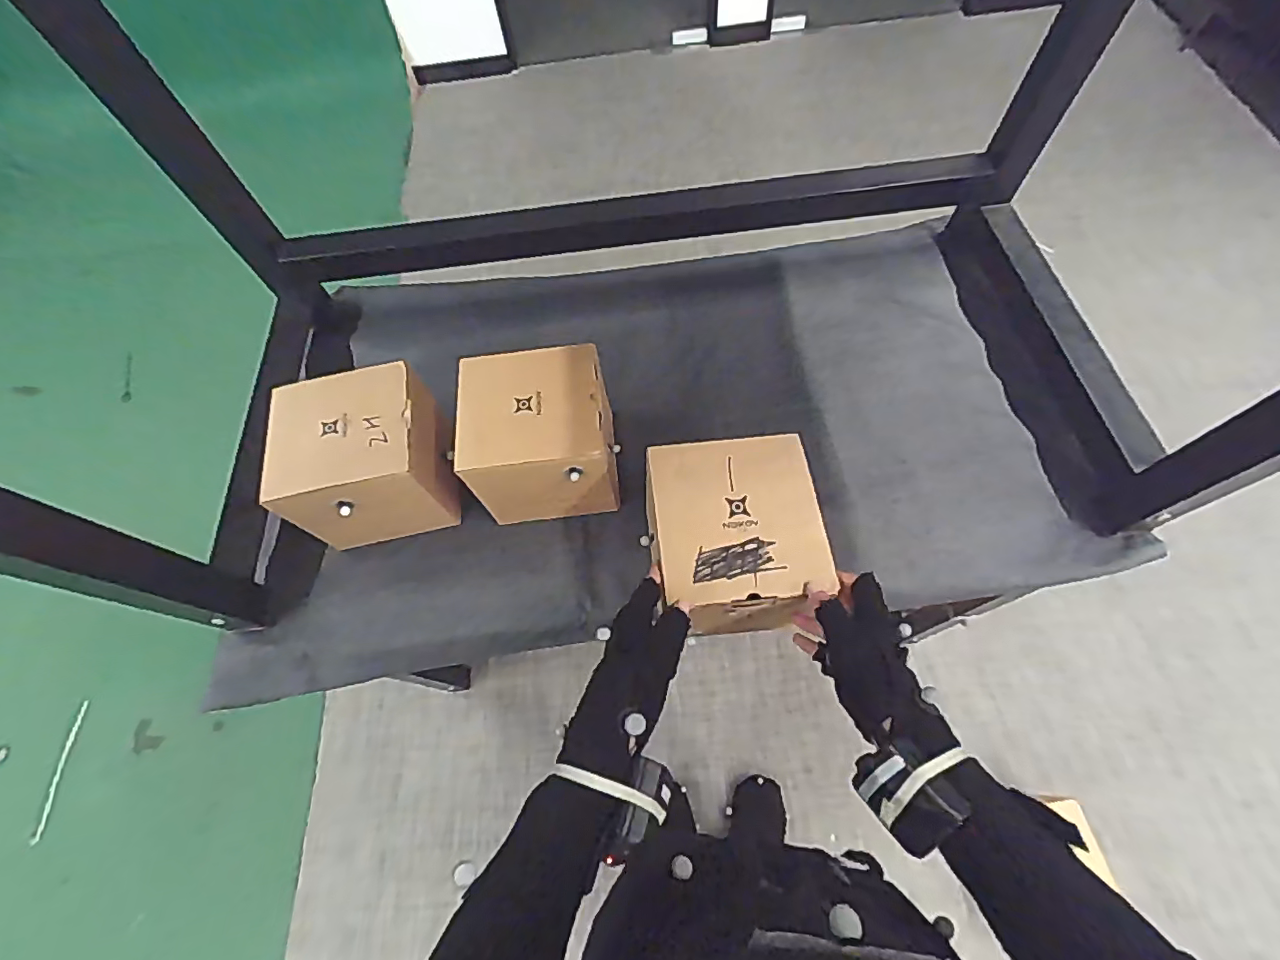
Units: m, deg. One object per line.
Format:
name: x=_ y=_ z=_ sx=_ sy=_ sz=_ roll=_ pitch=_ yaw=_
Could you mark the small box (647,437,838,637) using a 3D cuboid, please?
small box: x=0.098 y=0.073 z=0.603 sx=0.168 sy=0.176 sz=0.179 roll=-5 pitch=64 yaw=-2
